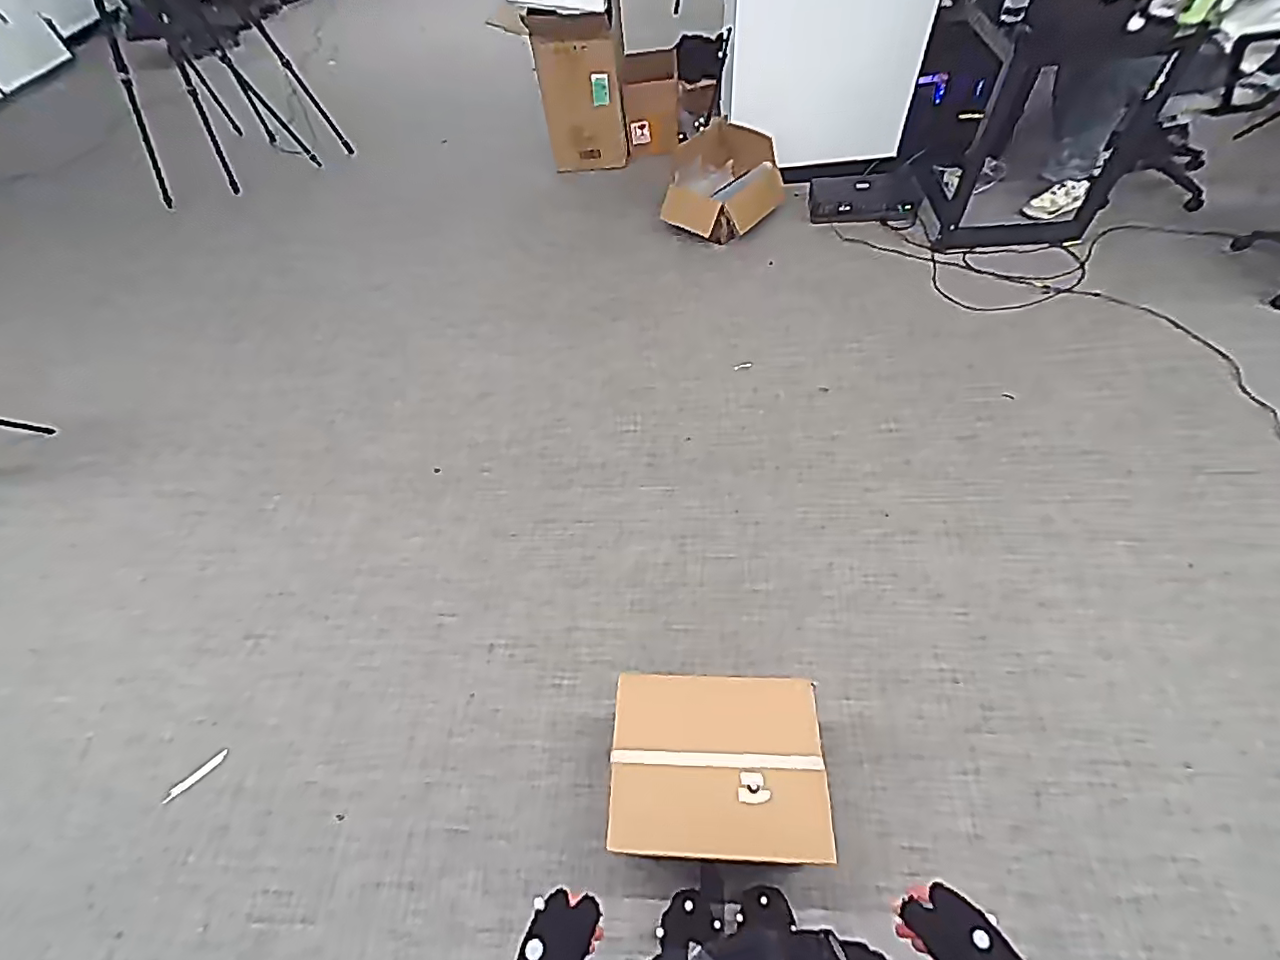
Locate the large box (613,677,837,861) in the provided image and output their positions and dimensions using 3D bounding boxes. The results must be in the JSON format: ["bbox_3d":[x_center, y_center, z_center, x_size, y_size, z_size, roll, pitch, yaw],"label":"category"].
[{"bbox_3d":[0.161,0.625,1.161,0.408,0.320,0.320,-1,55,5],"label":"large box"}]
